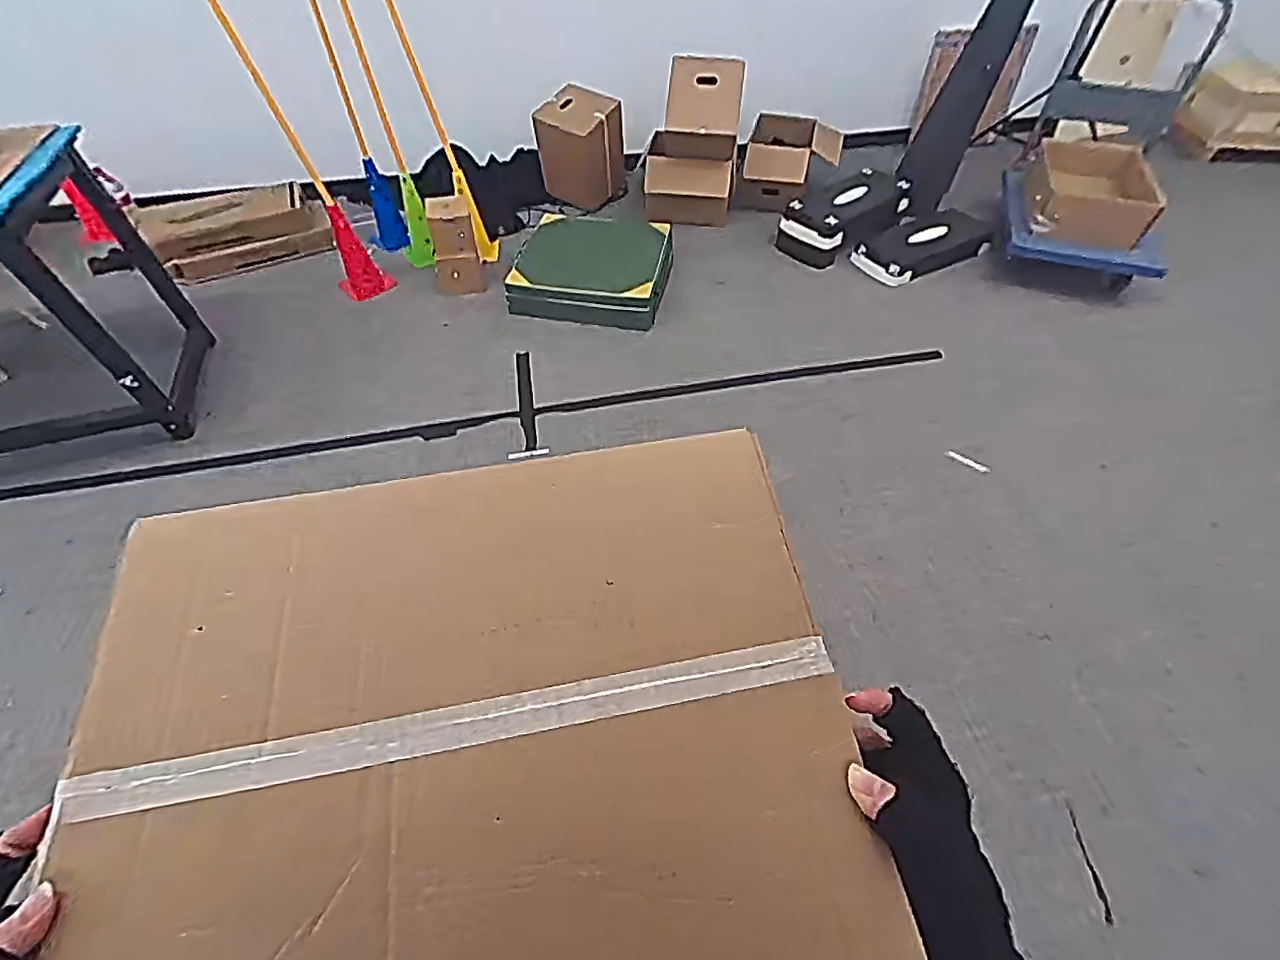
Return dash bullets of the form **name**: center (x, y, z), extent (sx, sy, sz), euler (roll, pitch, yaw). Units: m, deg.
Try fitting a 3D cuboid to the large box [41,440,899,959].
- **large box**: center (-0.096, 0.203, 0.435), extent (0.408, 0.320, 0.320), euler (-9, 62, -5)
